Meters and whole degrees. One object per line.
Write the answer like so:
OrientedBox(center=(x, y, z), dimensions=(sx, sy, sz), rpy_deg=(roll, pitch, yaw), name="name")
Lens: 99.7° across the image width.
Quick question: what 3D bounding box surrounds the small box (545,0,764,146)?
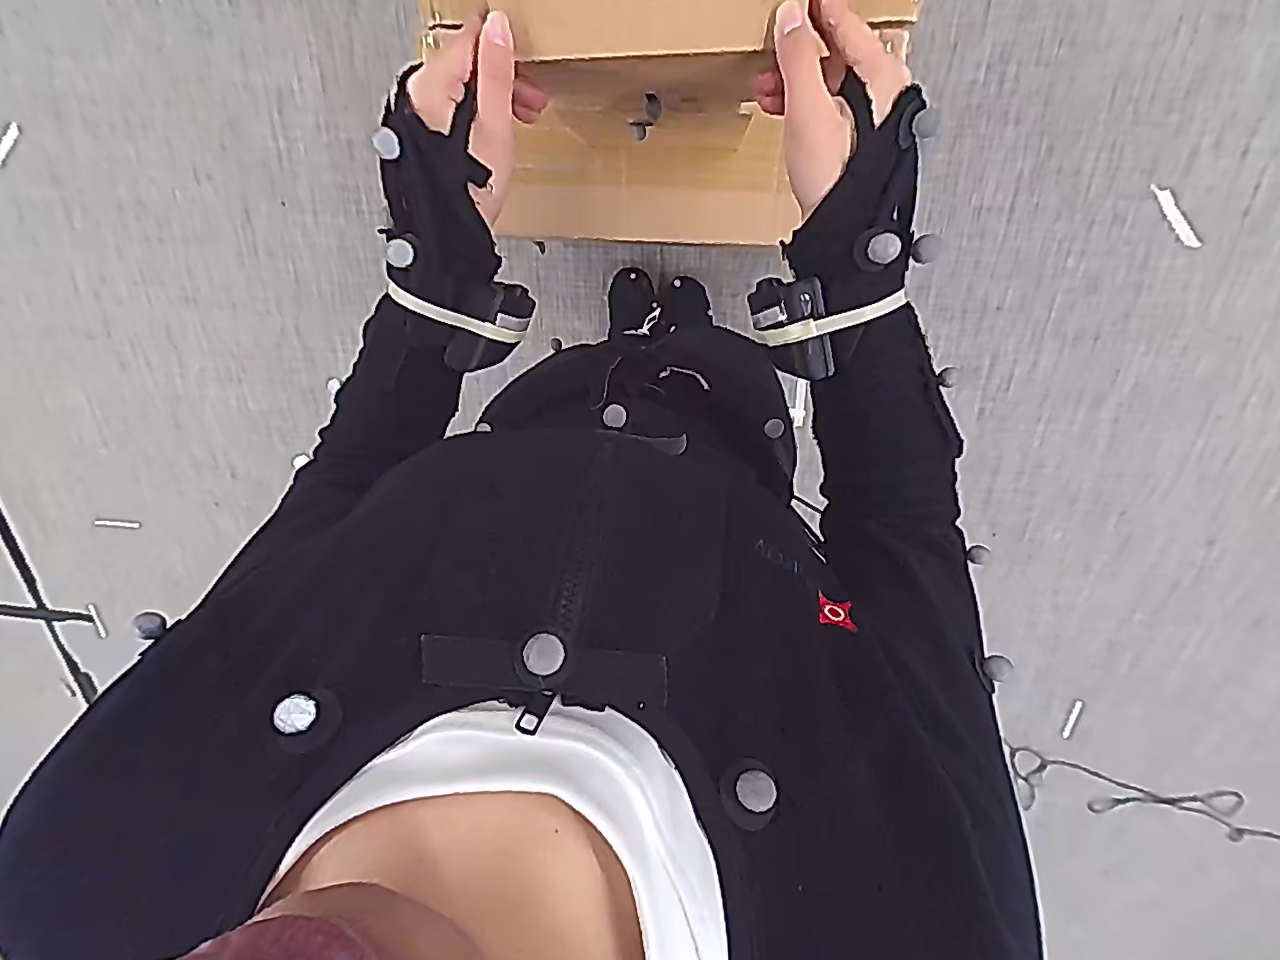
OrientedBox(center=(0.019, -0.415, 0.494), dimensions=(0.179, 0.176, 0.168), rpy_deg=(4, 113, 4), name="small box")
